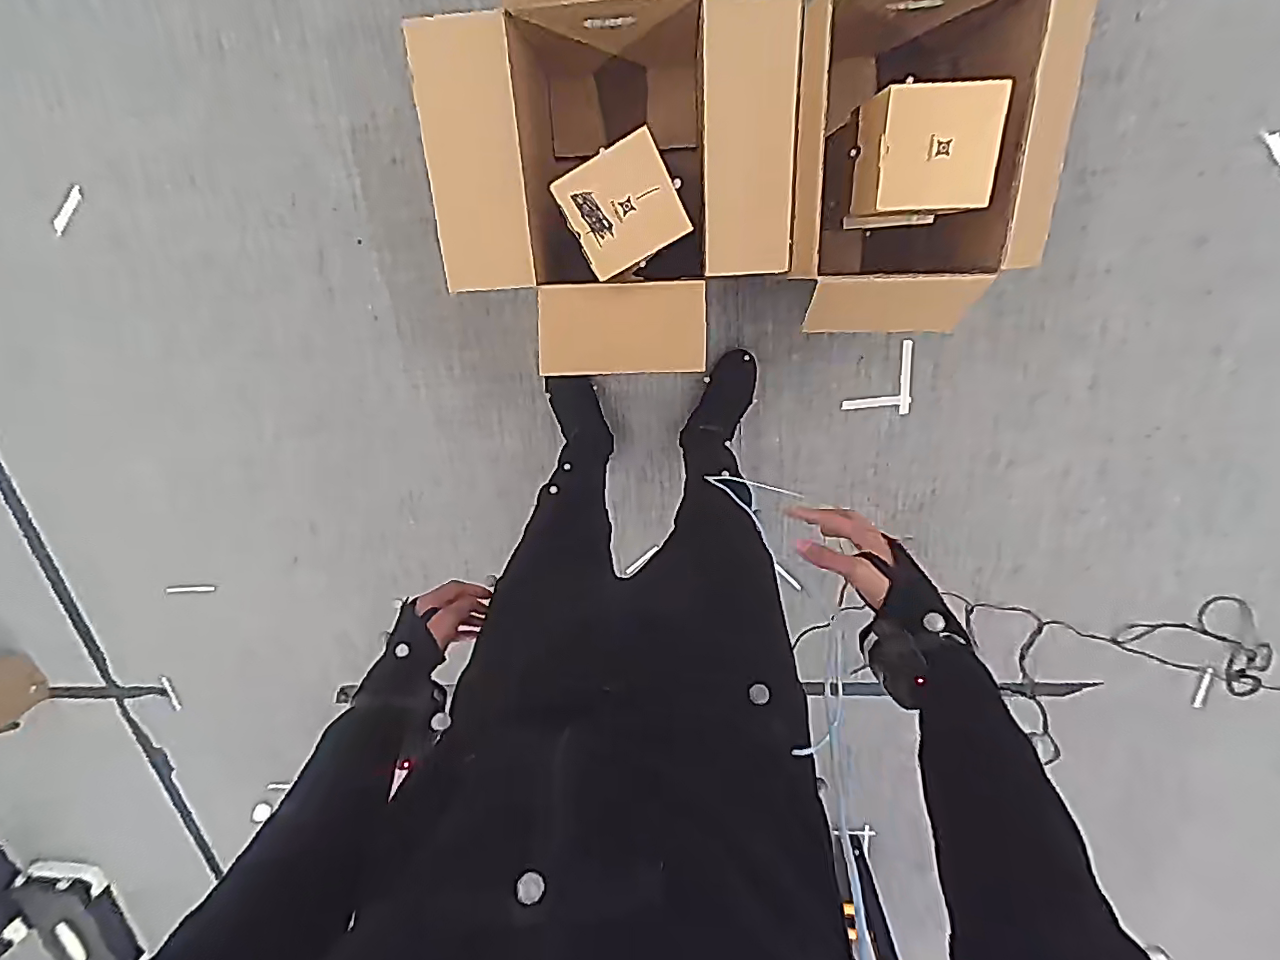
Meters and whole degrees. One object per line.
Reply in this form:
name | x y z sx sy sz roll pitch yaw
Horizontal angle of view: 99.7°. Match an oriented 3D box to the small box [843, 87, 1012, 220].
small box | 0.452 -0.519 0.880 0.179 0.176 0.168 -1 113 4
